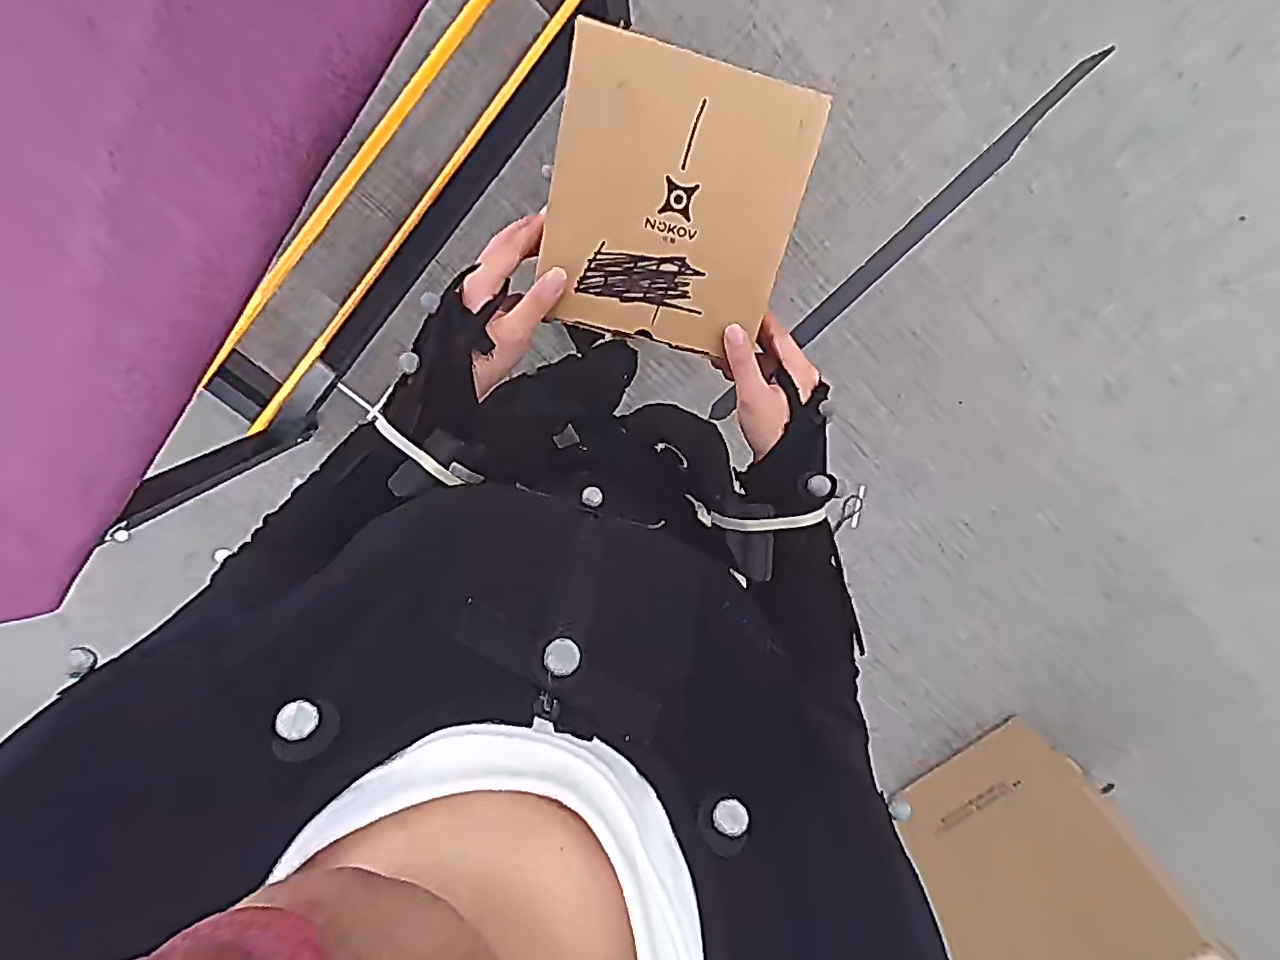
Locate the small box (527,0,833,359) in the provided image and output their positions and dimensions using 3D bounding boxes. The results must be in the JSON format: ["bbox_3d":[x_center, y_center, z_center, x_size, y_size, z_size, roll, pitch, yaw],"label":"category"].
[{"bbox_3d":[0.017,-0.213,0.423,0.168,0.176,0.179,11,112,-9],"label":"small box"}]
